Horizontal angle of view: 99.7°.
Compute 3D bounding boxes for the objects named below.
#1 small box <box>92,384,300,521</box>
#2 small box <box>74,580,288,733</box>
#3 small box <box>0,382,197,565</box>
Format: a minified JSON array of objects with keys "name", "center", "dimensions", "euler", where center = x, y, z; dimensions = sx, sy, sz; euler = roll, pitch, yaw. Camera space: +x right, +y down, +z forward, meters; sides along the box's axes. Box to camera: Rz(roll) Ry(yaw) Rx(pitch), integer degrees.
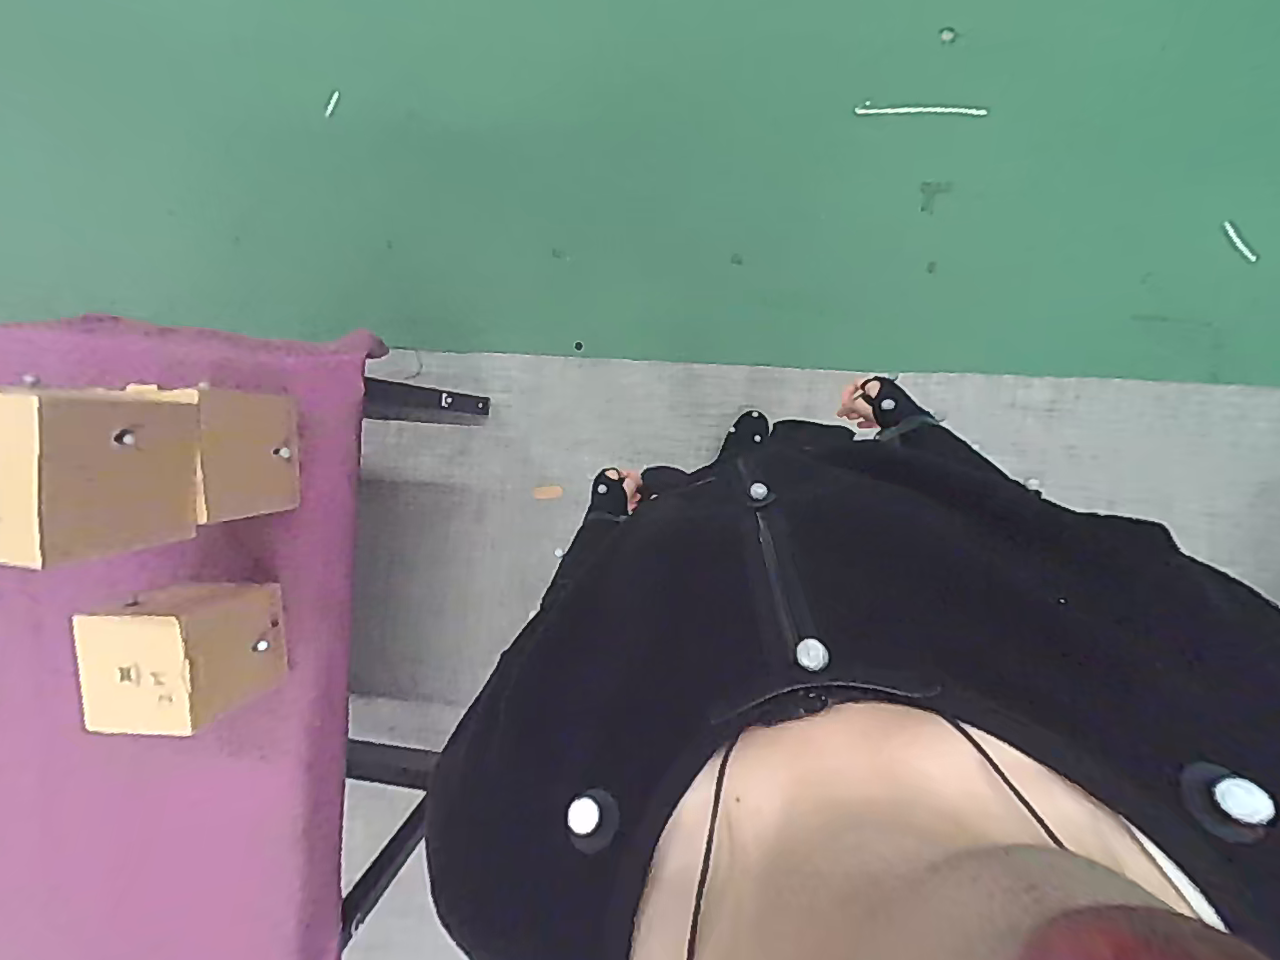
[{"name":"small box","center":[-0.625,-0.041,0.778],"dimensions":[0.168,0.176,0.179],"euler":[1,95,8]},{"name":"small box","center":[-0.671,0.251,0.807],"dimensions":[0.179,0.176,0.168],"euler":[-1,95,8]},{"name":"small box","center":[-0.654,-0.017,0.618],"dimensions":[0.168,0.176,0.179],"euler":[7,96,7]}]
